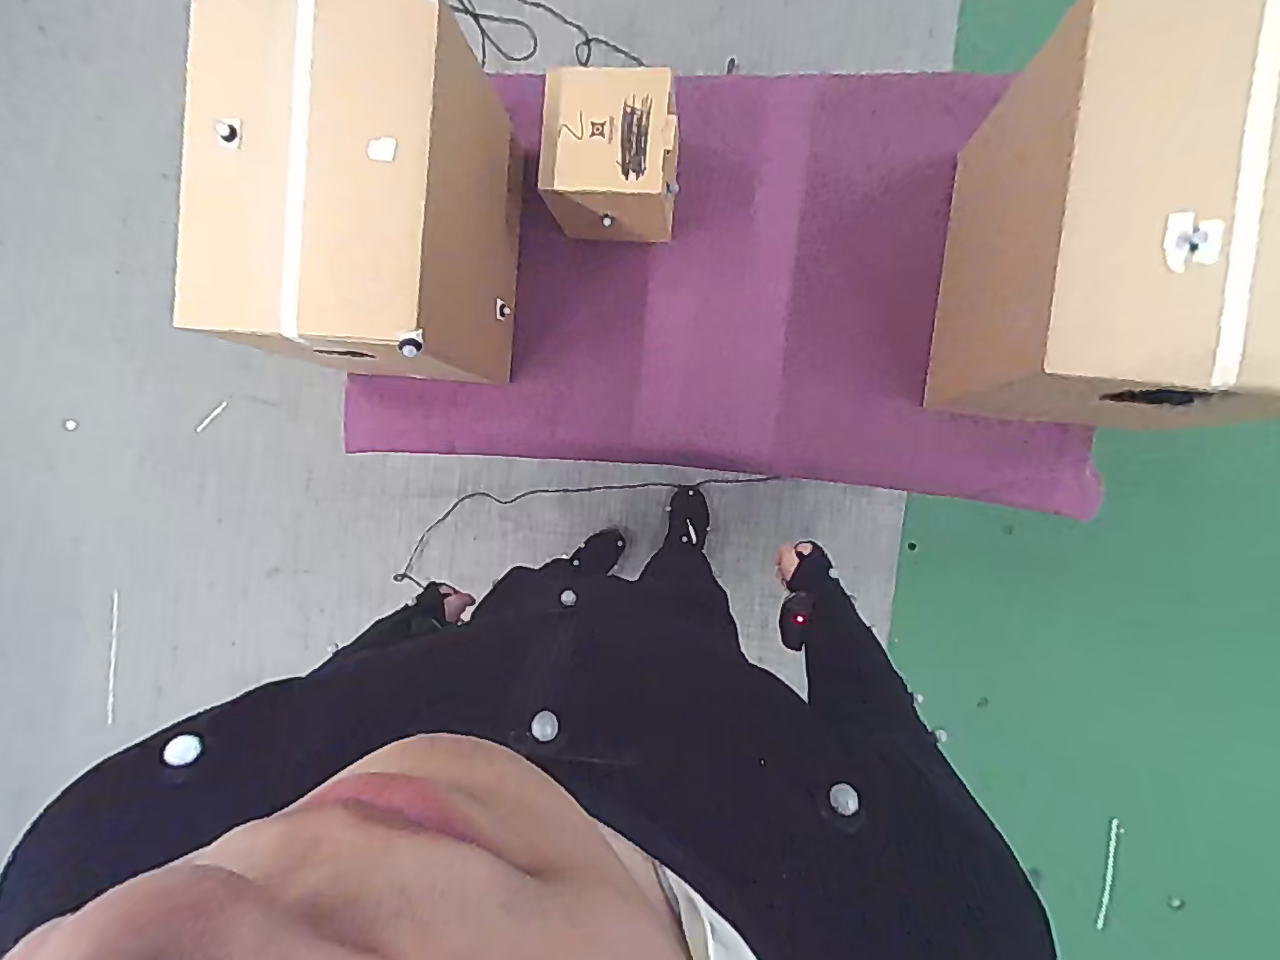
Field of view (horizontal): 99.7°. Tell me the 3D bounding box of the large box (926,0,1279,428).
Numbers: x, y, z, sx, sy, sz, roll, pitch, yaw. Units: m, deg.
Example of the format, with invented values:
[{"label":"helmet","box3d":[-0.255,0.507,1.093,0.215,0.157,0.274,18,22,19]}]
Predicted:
[{"label":"large box","box3d":[0.594,-0.286,0.672,0.320,0.320,0.408,7,92,8]}]
